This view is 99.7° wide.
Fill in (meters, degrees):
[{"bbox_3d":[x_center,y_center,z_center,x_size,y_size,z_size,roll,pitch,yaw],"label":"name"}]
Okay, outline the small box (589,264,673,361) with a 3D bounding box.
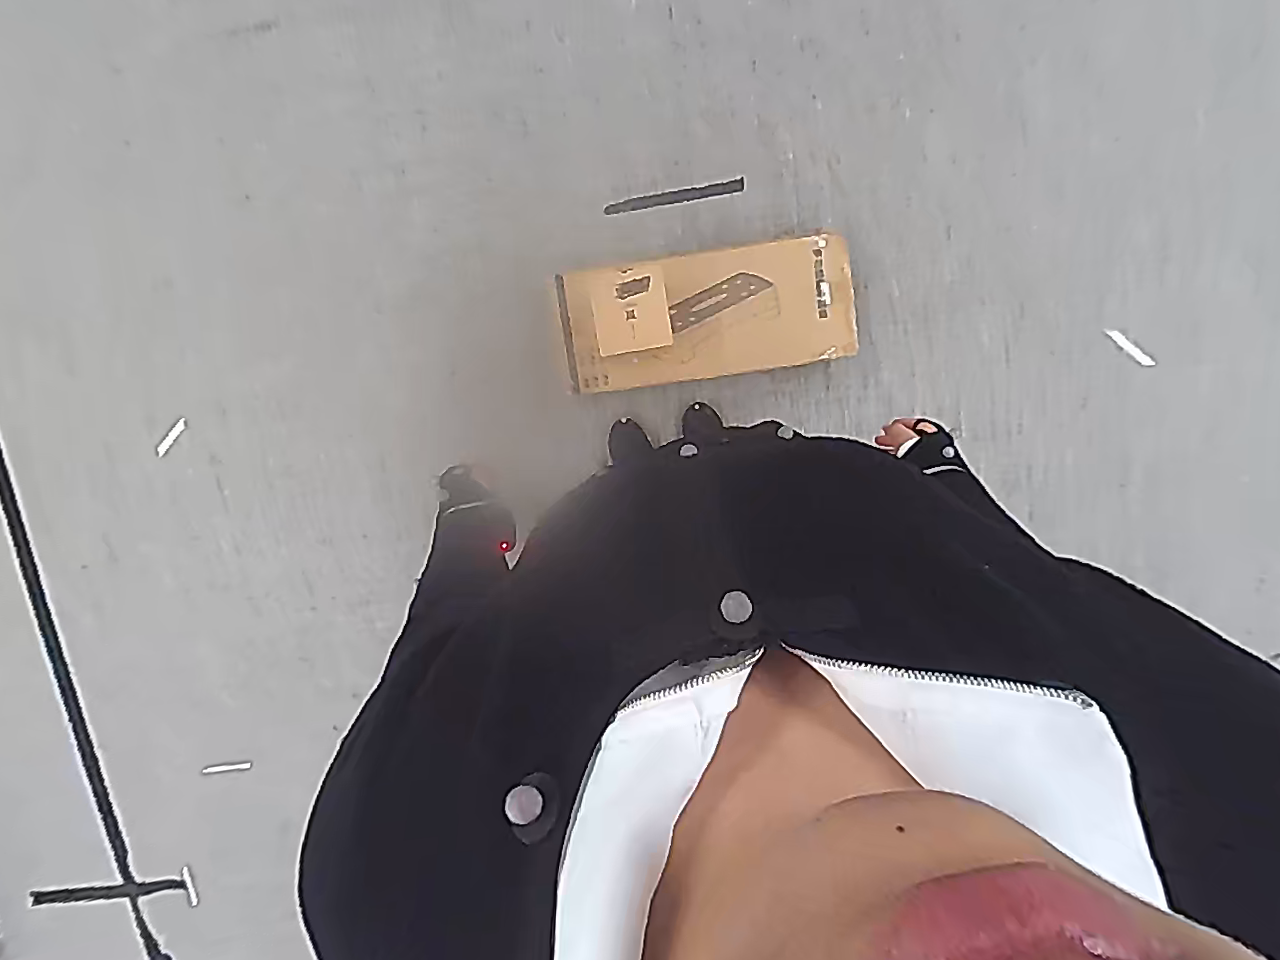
[{"bbox_3d":[-0.020,-0.383,1.259,0.168,0.176,0.179,-9,99,2],"label":"small box"}]
